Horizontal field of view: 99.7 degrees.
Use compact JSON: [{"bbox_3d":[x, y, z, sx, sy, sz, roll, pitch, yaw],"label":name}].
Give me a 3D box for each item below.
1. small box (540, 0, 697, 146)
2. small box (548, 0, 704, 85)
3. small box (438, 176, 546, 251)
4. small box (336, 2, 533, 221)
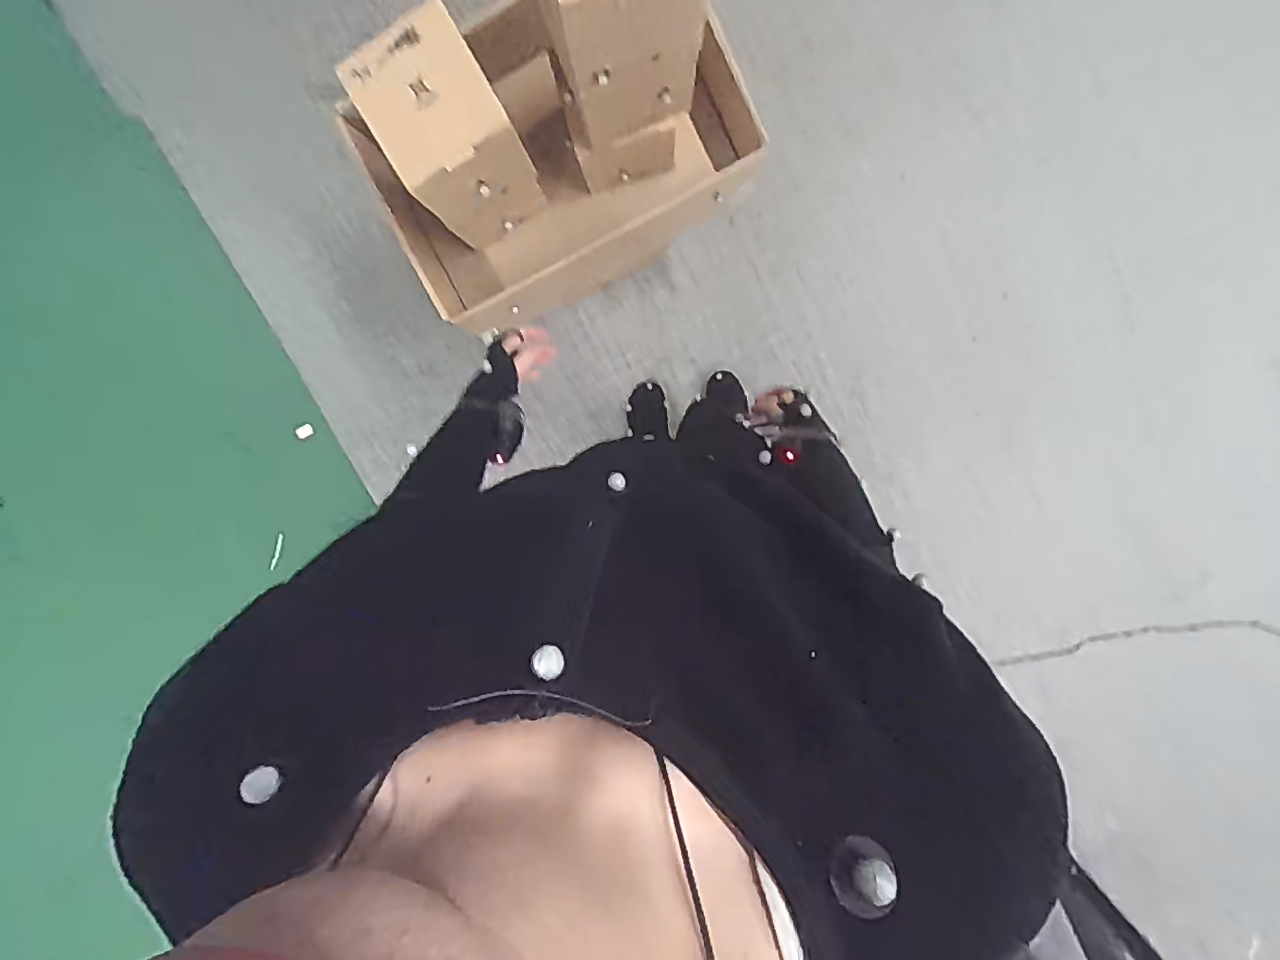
[{"bbox_3d":[-0.029,-0.602,0.752,0.168,0.176,0.179,-21,97,4],"label":"small box"},{"bbox_3d":[-0.028,-0.577,0.590,0.168,0.176,0.179,-18,97,3],"label":"small box"},{"bbox_3d":[-0.285,-0.531,0.932,0.168,0.176,0.179,-30,97,6],"label":"small box"},{"bbox_3d":[-0.275,-0.498,0.771,0.168,0.176,0.179,-30,97,5],"label":"small box"}]
